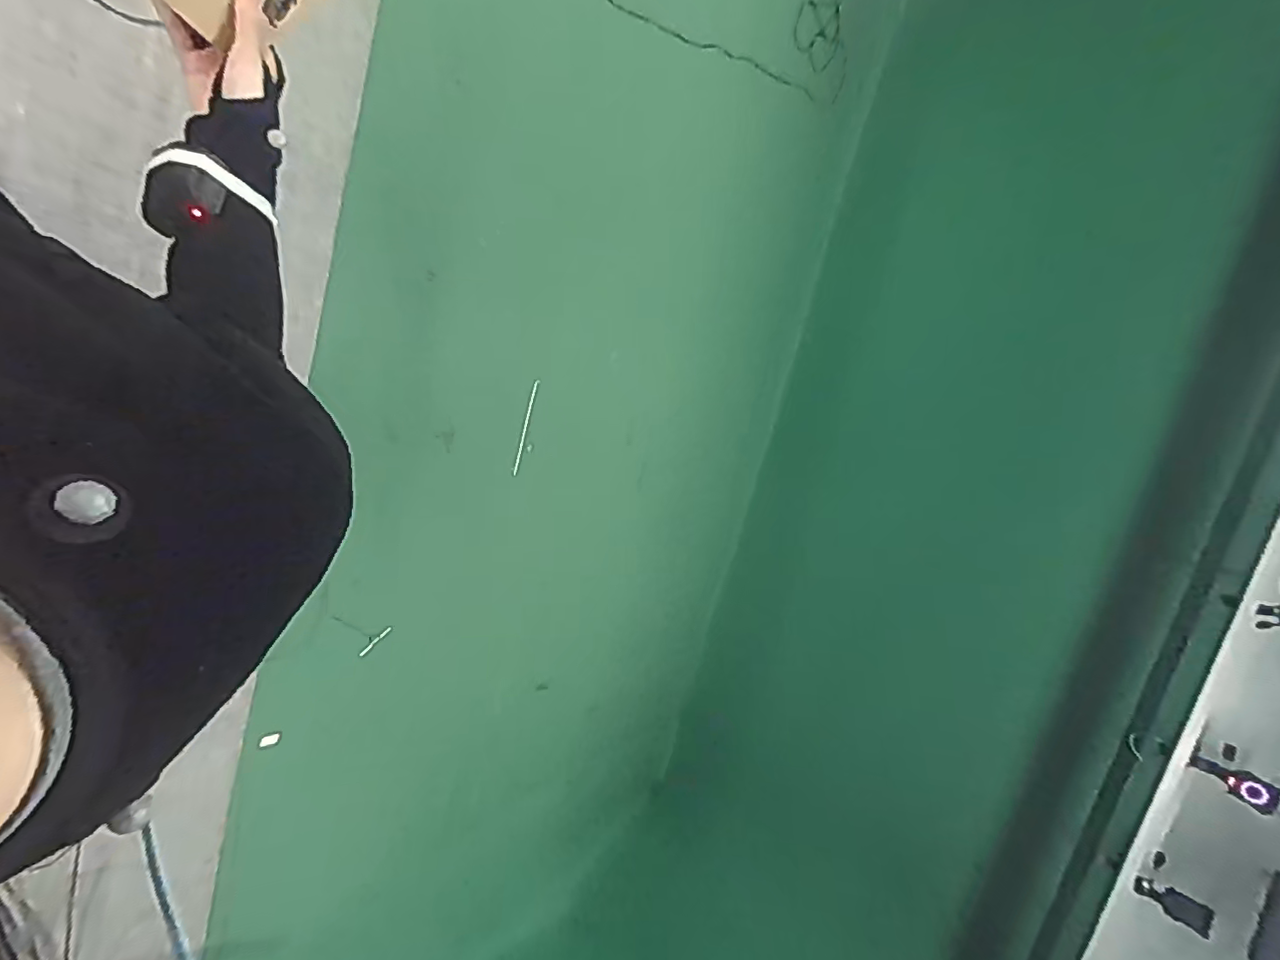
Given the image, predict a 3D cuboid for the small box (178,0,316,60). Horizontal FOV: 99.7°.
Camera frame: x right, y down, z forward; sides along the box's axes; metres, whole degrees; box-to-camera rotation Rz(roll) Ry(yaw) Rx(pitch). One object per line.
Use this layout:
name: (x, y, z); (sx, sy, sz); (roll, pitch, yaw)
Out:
small box: (-0.333, -0.470, 0.377); (0.168, 0.176, 0.179); (-38, -174, 3)
